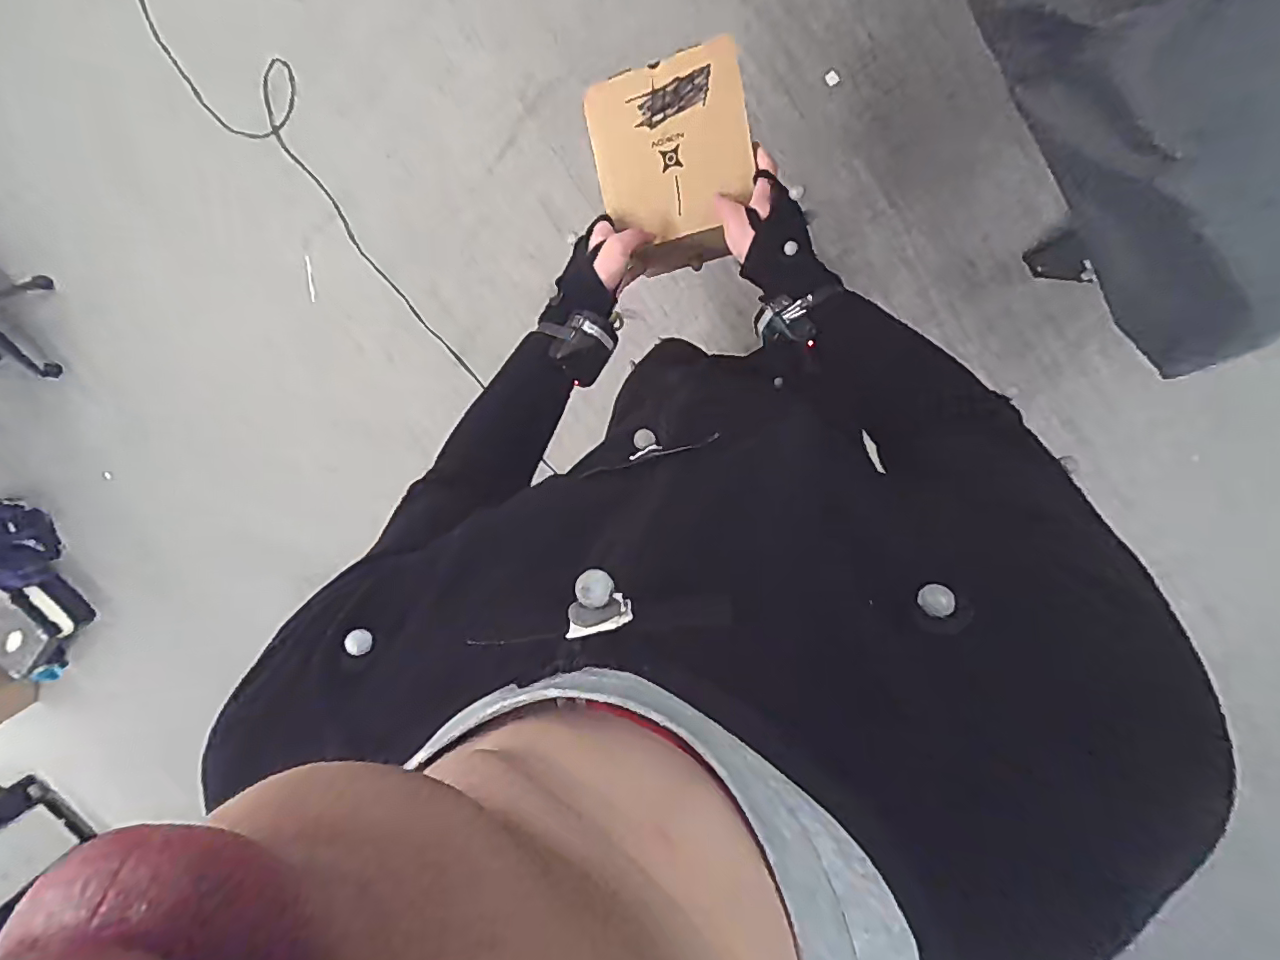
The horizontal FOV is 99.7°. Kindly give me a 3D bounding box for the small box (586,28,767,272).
[{"bbox_3d":[0.054,-0.367,0.642,0.168,0.176,0.179,-10,99,16],"label":"small box"}]

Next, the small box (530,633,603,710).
[{"bbox_3d":[-0.252,0.676,1.924,0.179,0.176,0.168,-33,98,27],"label":"small box"}]
